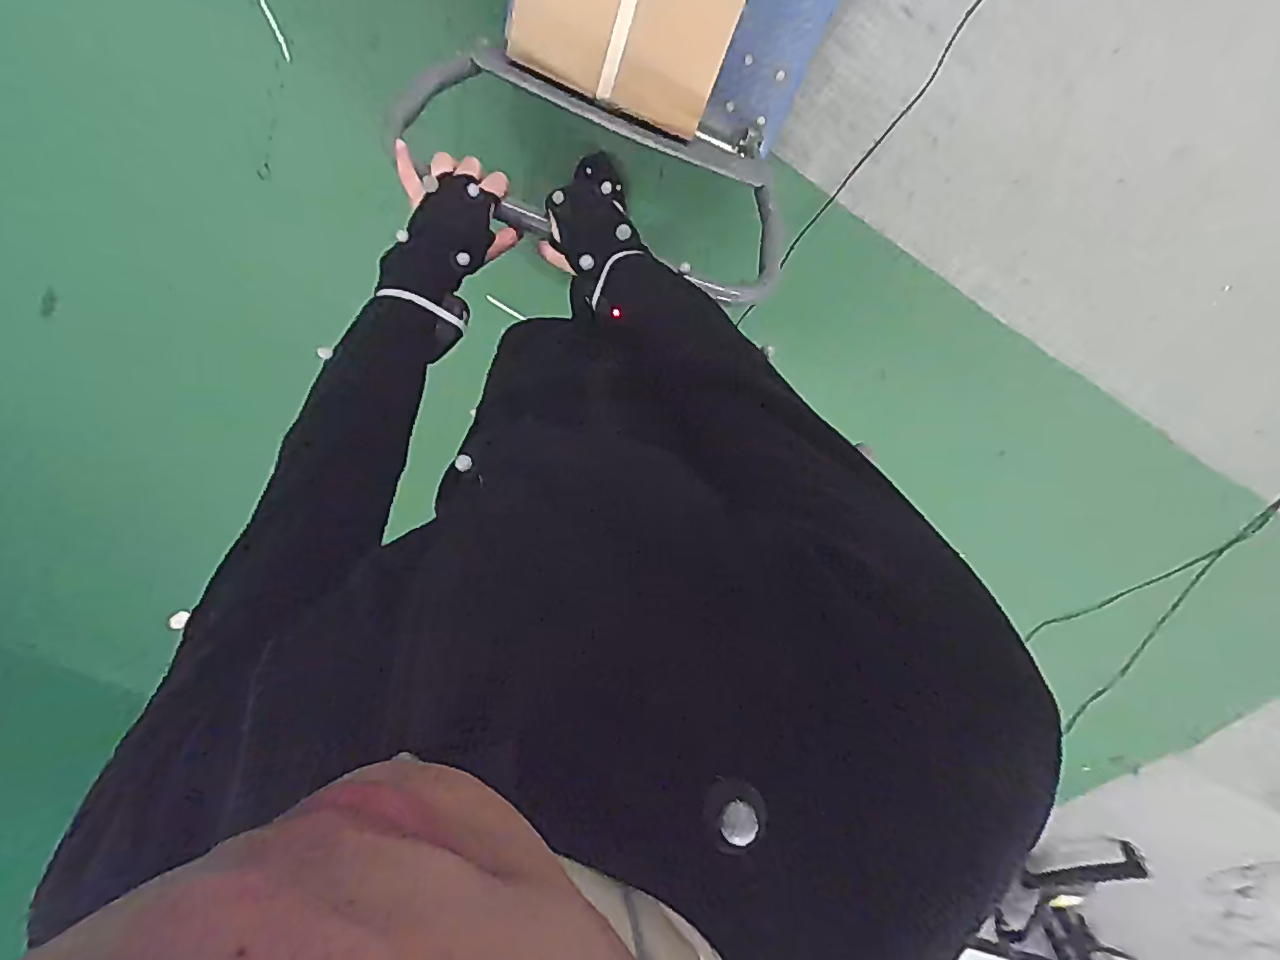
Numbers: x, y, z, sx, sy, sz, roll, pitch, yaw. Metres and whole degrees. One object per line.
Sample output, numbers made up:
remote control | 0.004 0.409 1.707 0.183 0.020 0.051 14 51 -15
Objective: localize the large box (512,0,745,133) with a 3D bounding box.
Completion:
large box | 0.022 -0.840 0.850 0.320 0.320 0.408 18 128 -11
